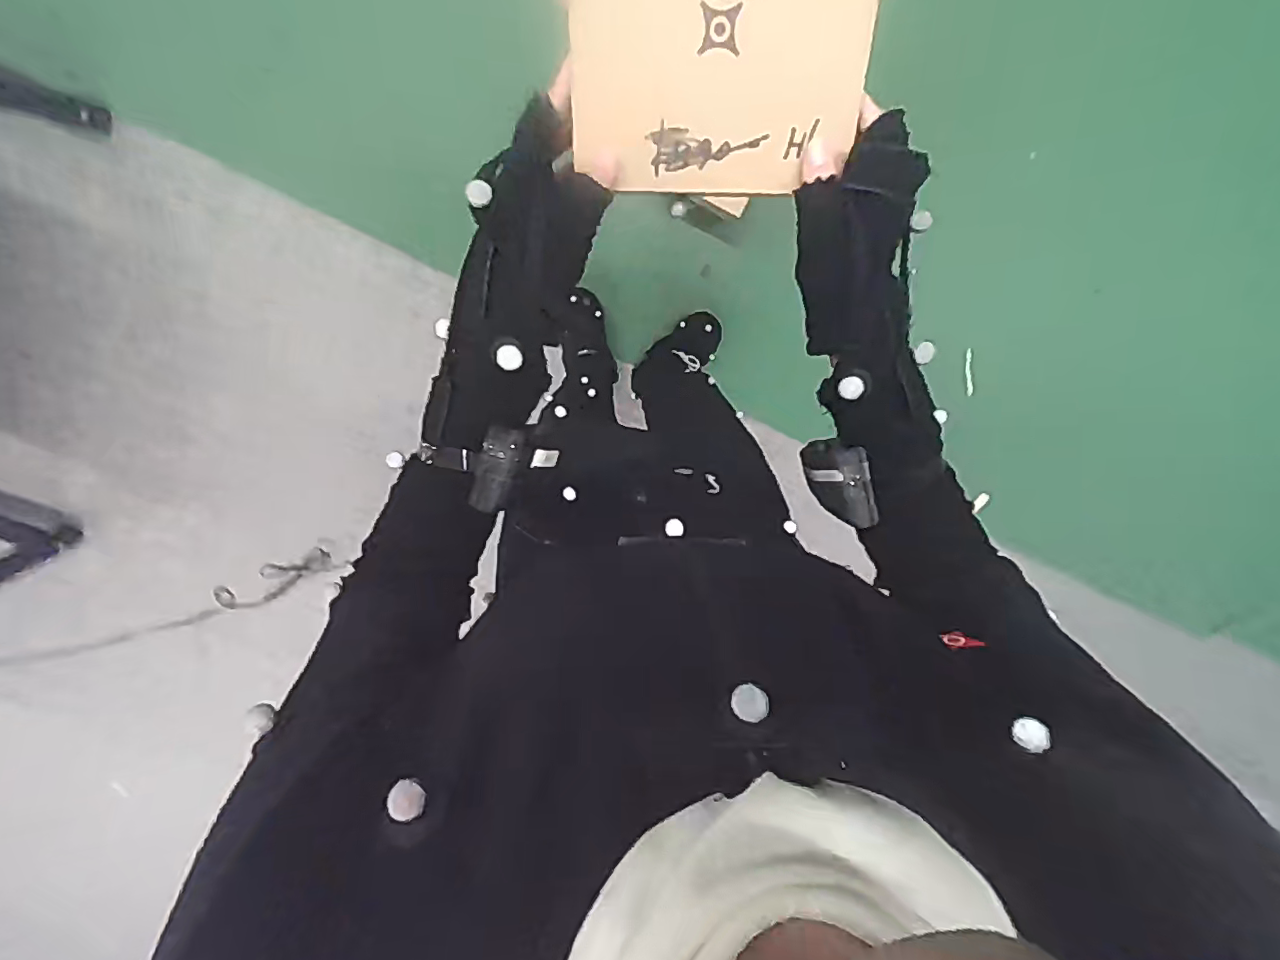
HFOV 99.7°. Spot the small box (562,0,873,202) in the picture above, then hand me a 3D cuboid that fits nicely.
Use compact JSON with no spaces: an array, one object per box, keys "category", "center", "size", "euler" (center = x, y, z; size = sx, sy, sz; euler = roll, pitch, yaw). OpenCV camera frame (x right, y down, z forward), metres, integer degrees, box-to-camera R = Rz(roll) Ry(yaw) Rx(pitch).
[{"category":"small box","center":[0.036,-0.282,0.353],"size":[0.168,0.176,0.179],"euler":[-1,119,-2]}]

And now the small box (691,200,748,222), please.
[{"category":"small box","center":[0.164,-0.645,1.084],"size":[0.168,0.176,0.179],"euler":[27,111,-8]}]
